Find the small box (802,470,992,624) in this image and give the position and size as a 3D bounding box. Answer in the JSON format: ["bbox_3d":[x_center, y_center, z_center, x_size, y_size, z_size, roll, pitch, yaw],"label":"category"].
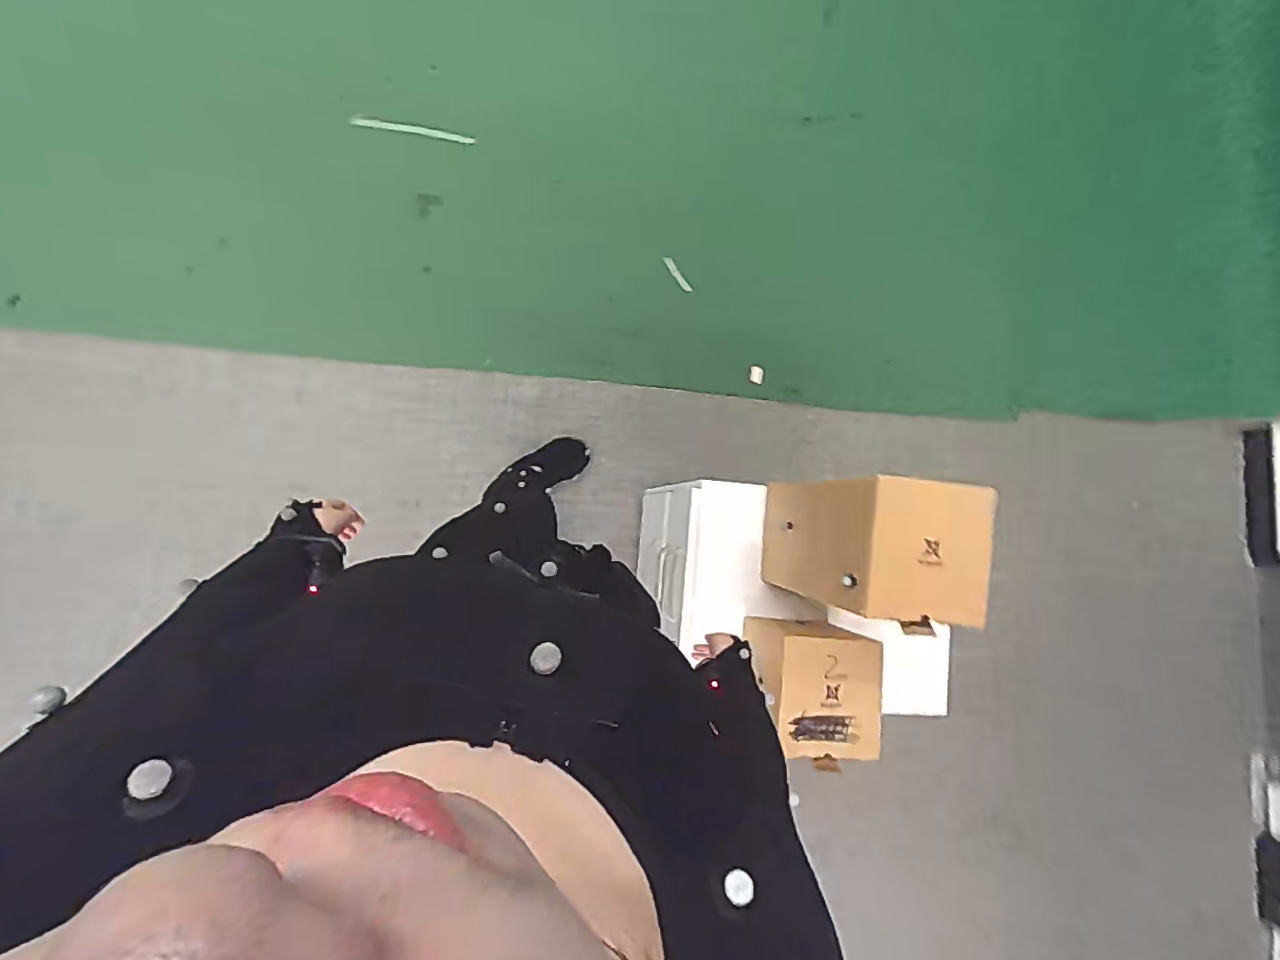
[{"bbox_3d":[0.339,0.085,0.740,0.168,0.176,0.179,7,88,-10],"label":"small box"}]

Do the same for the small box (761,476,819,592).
[{"bbox_3d":[0.312,0.092,0.901,0.168,0.176,0.179,5,86,-10],"label":"small box"}]
